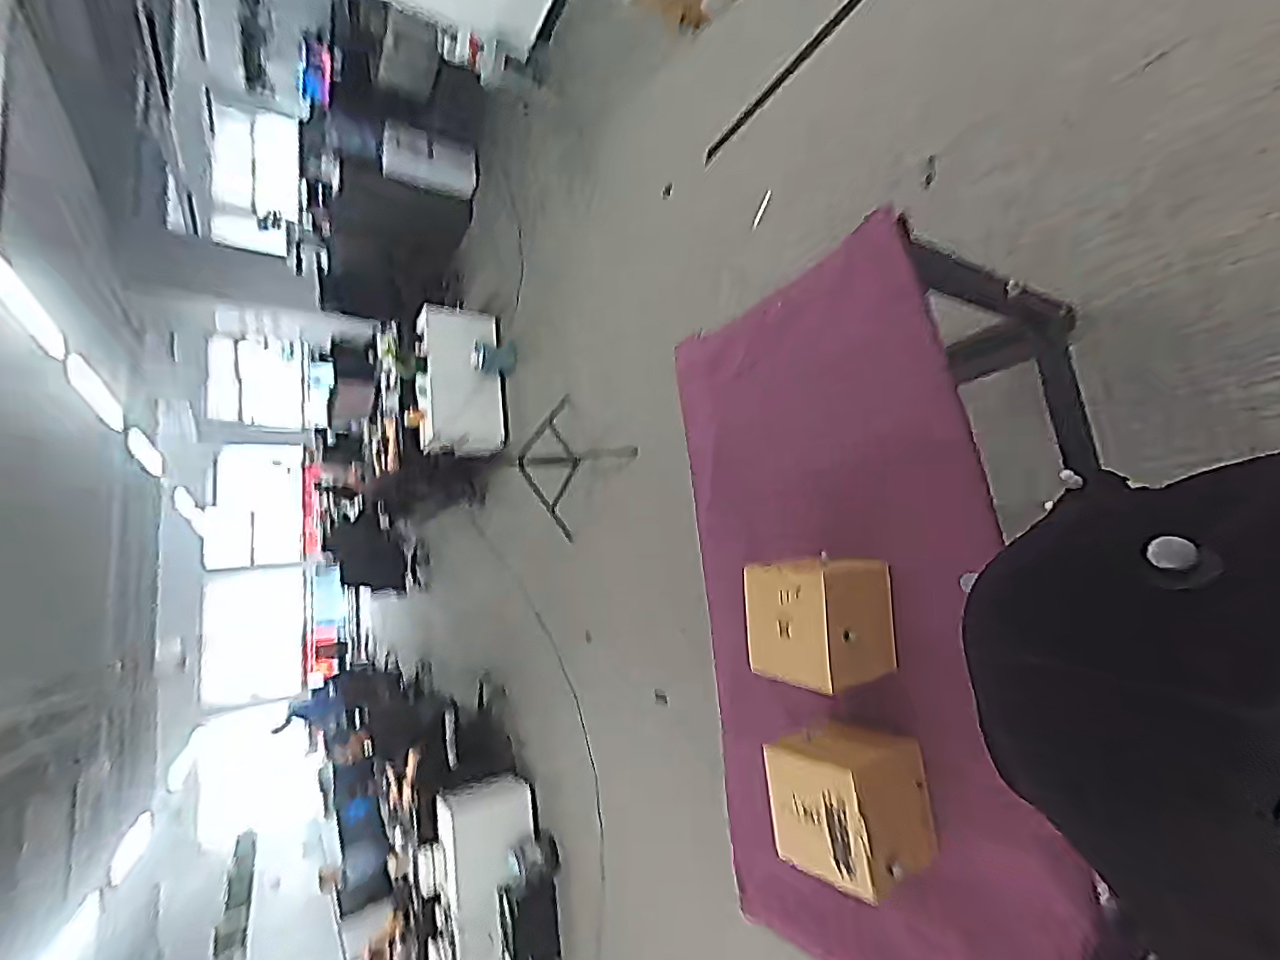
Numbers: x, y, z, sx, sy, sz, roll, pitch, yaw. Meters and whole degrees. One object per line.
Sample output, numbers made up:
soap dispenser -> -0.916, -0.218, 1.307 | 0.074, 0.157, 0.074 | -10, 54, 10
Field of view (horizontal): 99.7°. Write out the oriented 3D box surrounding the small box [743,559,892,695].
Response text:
small box -> 0.290, 0.227, 0.886 | 0.168, 0.176, 0.179 | -8, 83, 56
